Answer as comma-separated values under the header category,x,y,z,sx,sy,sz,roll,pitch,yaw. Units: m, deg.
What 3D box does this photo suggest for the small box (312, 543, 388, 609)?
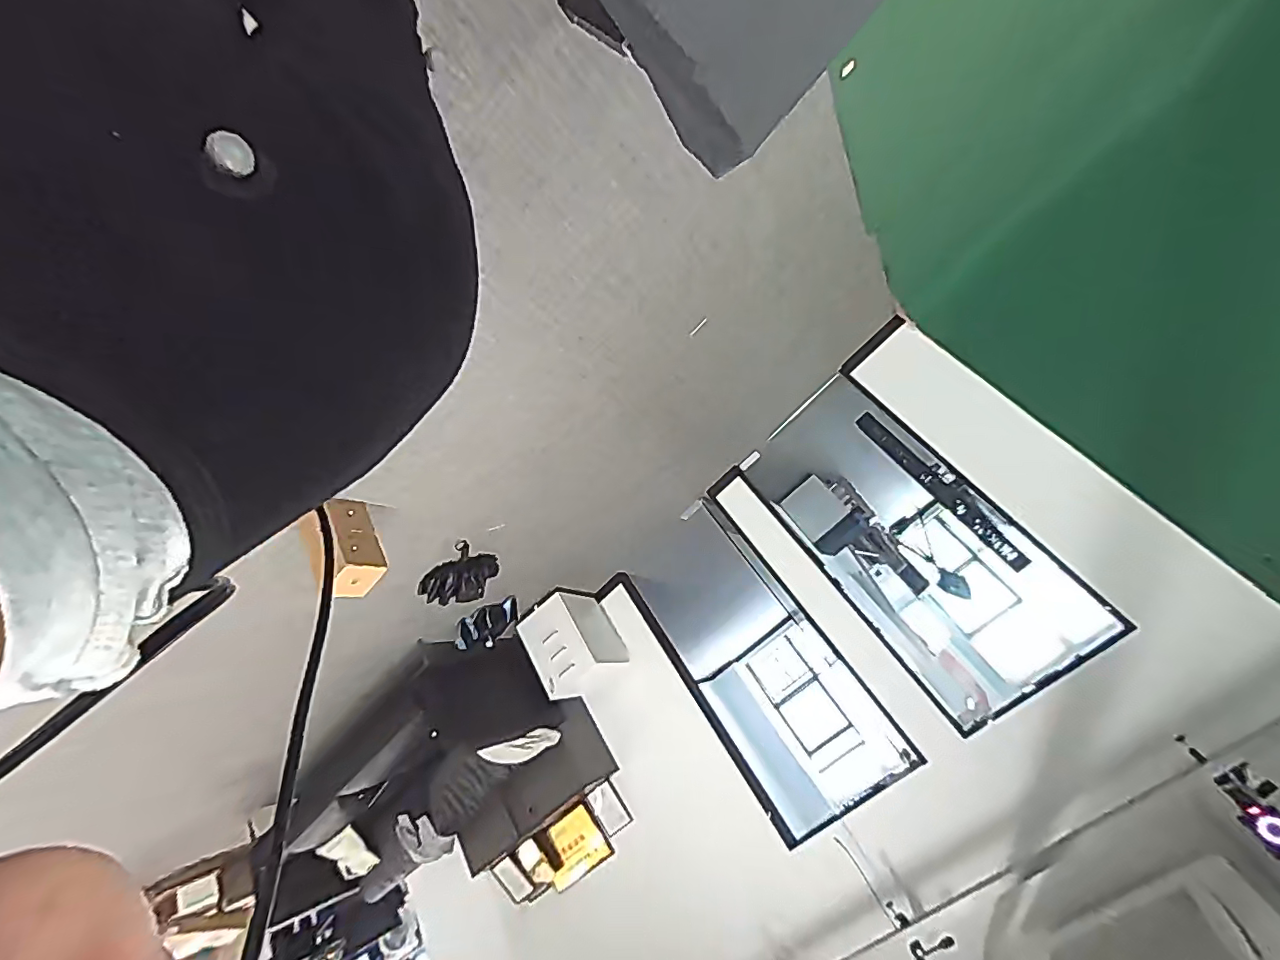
category,x,y,z,sx,sy,sz,roll,pitch,yaw
small box,-1.063,0.347,1.971,0.179,0.176,0.168,-45,150,16

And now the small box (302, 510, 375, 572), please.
category,x,y,z,sx,sy,sz,roll,pitch,yaw
small box,-1.149,0.233,2.049,0.179,0.176,0.168,-47,150,16
